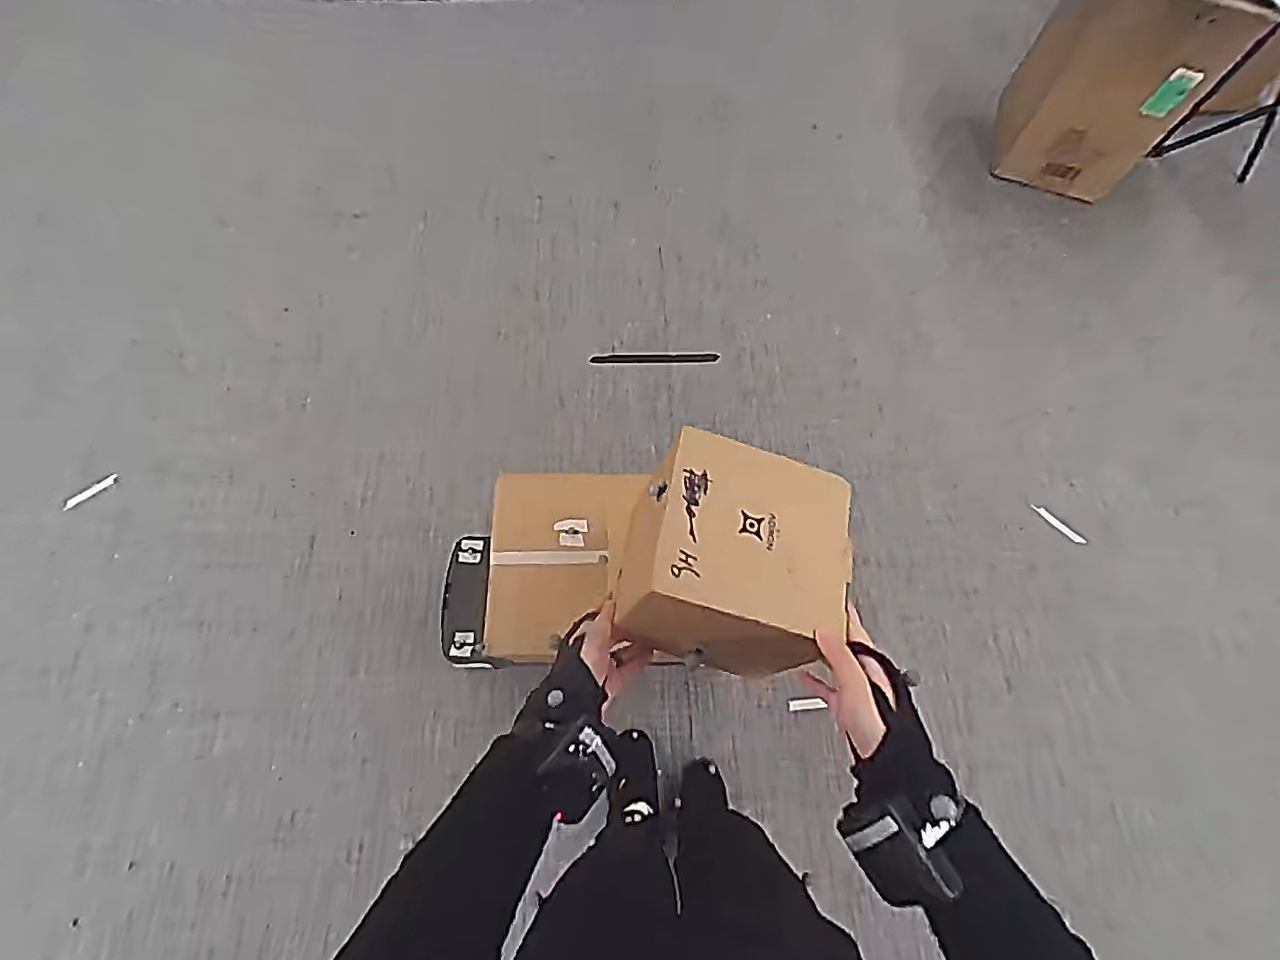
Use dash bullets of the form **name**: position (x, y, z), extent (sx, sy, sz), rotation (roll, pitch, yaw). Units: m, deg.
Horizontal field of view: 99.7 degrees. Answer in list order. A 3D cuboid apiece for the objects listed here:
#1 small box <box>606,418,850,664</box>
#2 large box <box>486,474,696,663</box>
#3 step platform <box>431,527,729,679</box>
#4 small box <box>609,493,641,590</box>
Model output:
- **small box**: position (0.082, 0.072, 0.535), extent (0.179, 0.176, 0.168), rotation (19, 58, -8)
- **large box**: position (-0.055, 0.187, 1.054), extent (0.408, 0.320, 0.320), rotation (-1, 68, -2)
- **step platform**: position (-0.121, 0.290, 1.267), extent (0.684, 0.204, 0.286), rotation (5, 69, 0)
- **small box**: position (0.042, 0.124, 0.820), extent (0.179, 0.176, 0.168), rotation (0, 70, -2)
